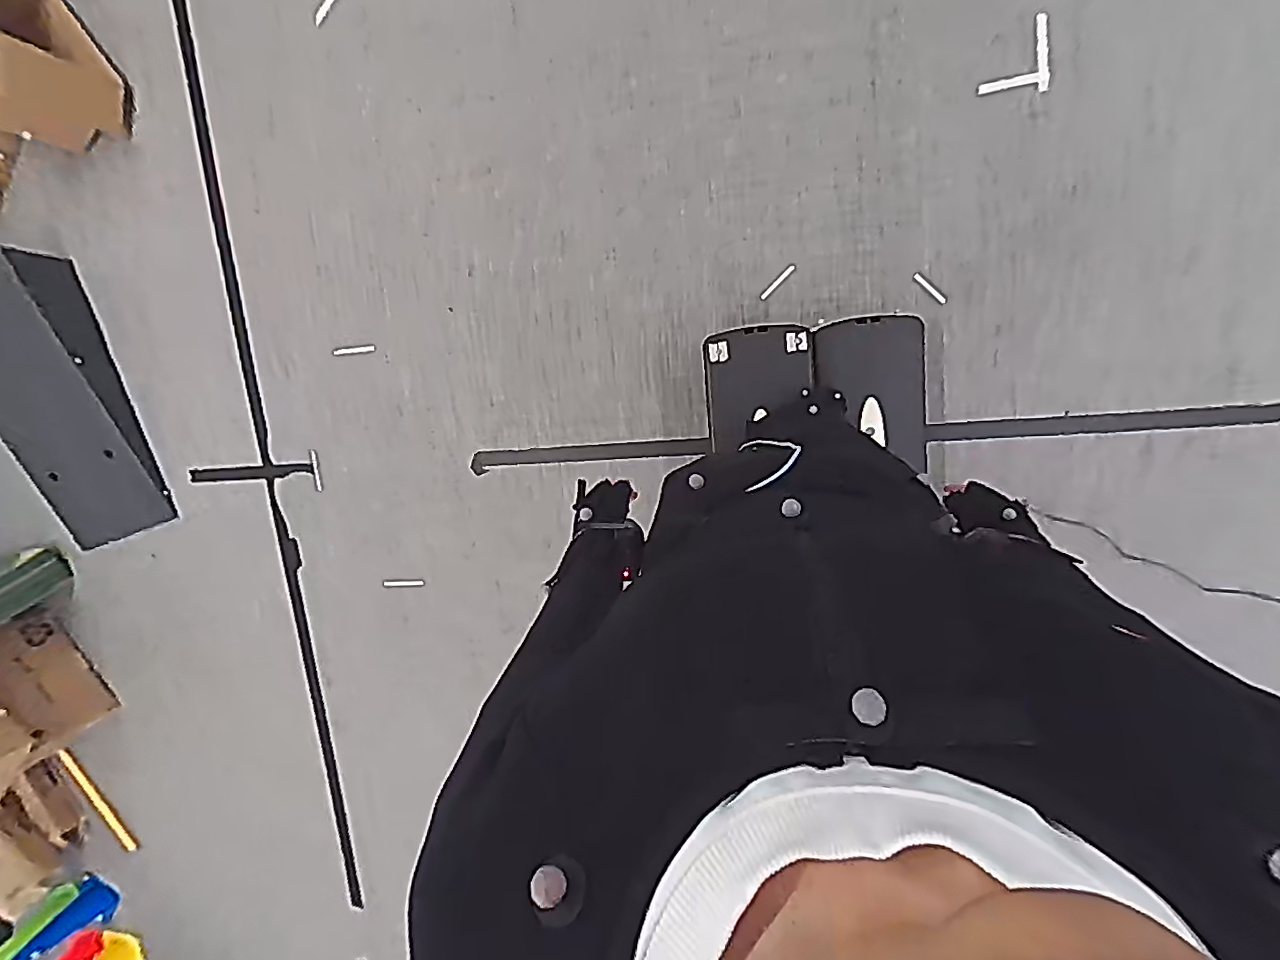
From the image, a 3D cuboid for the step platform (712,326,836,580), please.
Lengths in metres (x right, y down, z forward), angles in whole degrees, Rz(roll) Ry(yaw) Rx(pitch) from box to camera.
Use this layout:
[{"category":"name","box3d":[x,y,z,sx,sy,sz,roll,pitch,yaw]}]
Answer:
[{"category":"step platform","box3d":[0.367,-0.070,1.494,0.286,0.204,0.684,-5,97,11]}]
